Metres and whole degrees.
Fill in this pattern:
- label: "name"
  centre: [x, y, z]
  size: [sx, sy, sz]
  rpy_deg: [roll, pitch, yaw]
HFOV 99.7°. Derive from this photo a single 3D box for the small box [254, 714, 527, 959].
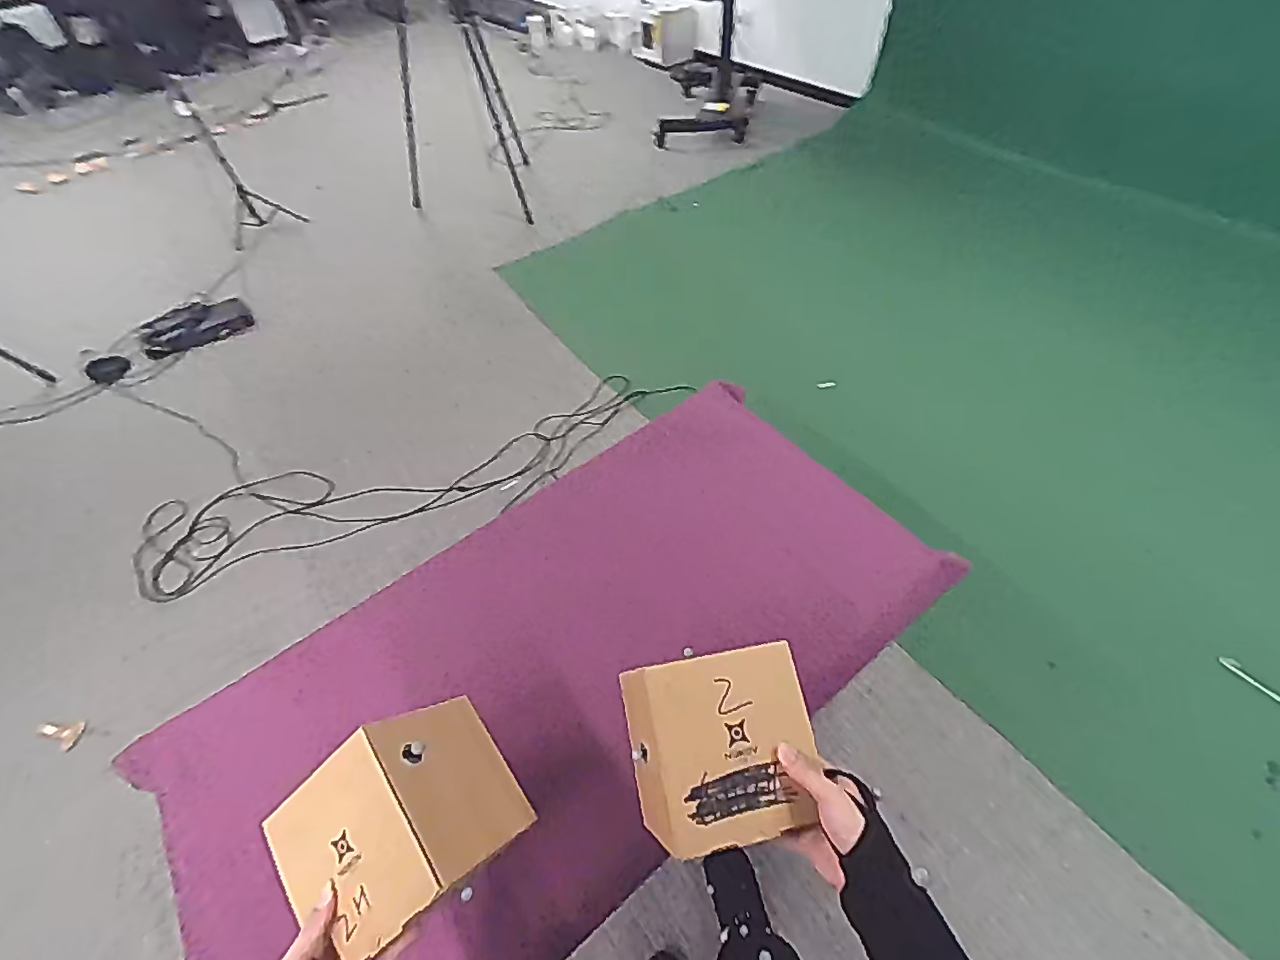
- label: "small box"
  centre: [-0.259, 0.378, 0.586]
  size: [0.168, 0.176, 0.179]
  rpy_deg: [-43, 68, 8]
